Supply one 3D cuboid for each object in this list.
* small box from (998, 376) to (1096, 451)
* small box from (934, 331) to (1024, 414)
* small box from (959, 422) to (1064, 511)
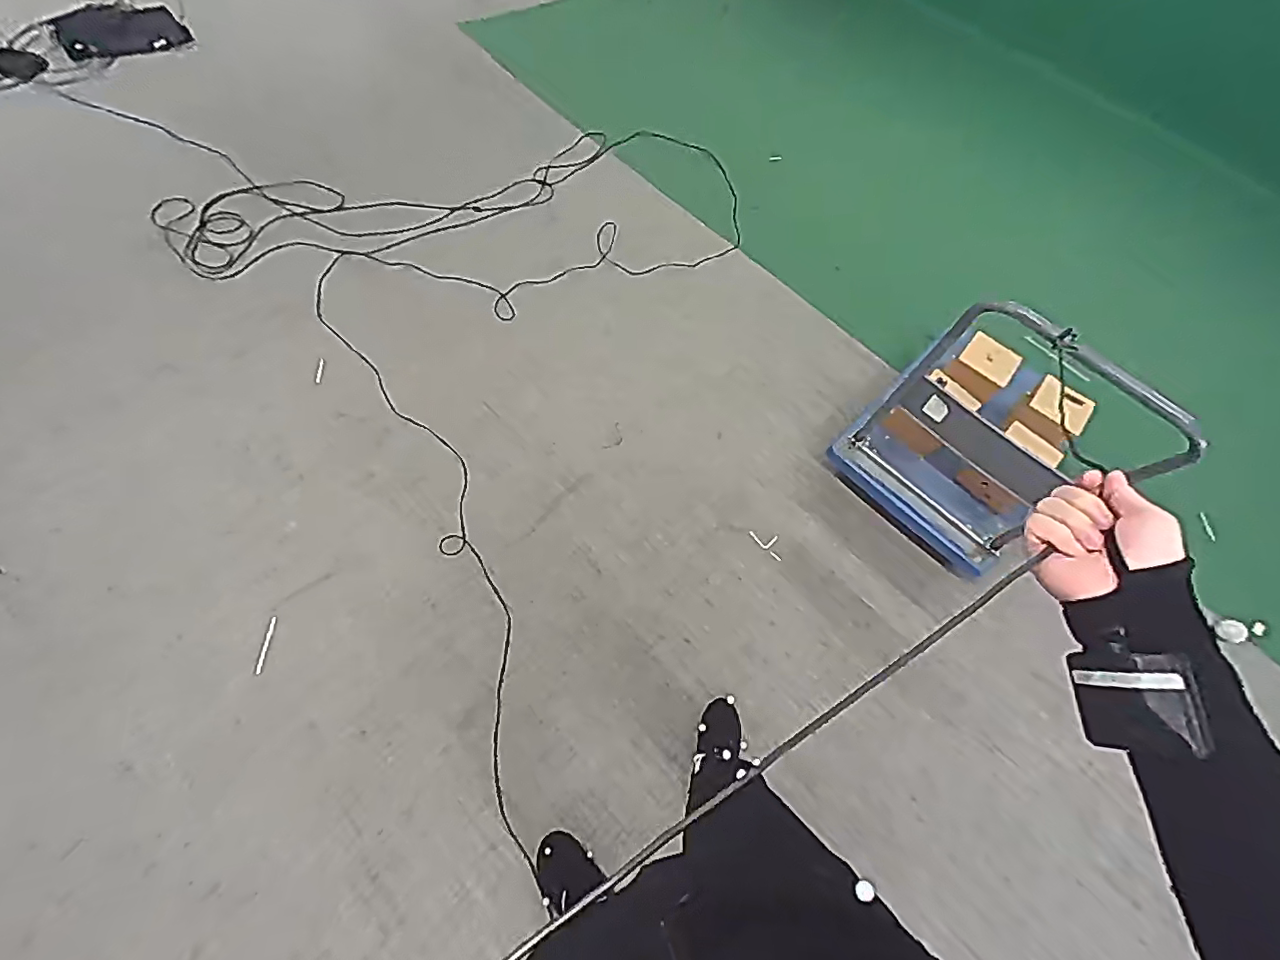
[{"bbox_3d":[1.313,-0.195,1.754,0.168,0.176,0.179,40,65,14],"label":"small box"},{"bbox_3d":[1.125,-0.353,1.811,0.168,0.176,0.179,41,64,12],"label":"small box"},{"bbox_3d":[1.121,-0.039,1.646,0.179,0.176,0.168,-38,74,-23],"label":"small box"}]
